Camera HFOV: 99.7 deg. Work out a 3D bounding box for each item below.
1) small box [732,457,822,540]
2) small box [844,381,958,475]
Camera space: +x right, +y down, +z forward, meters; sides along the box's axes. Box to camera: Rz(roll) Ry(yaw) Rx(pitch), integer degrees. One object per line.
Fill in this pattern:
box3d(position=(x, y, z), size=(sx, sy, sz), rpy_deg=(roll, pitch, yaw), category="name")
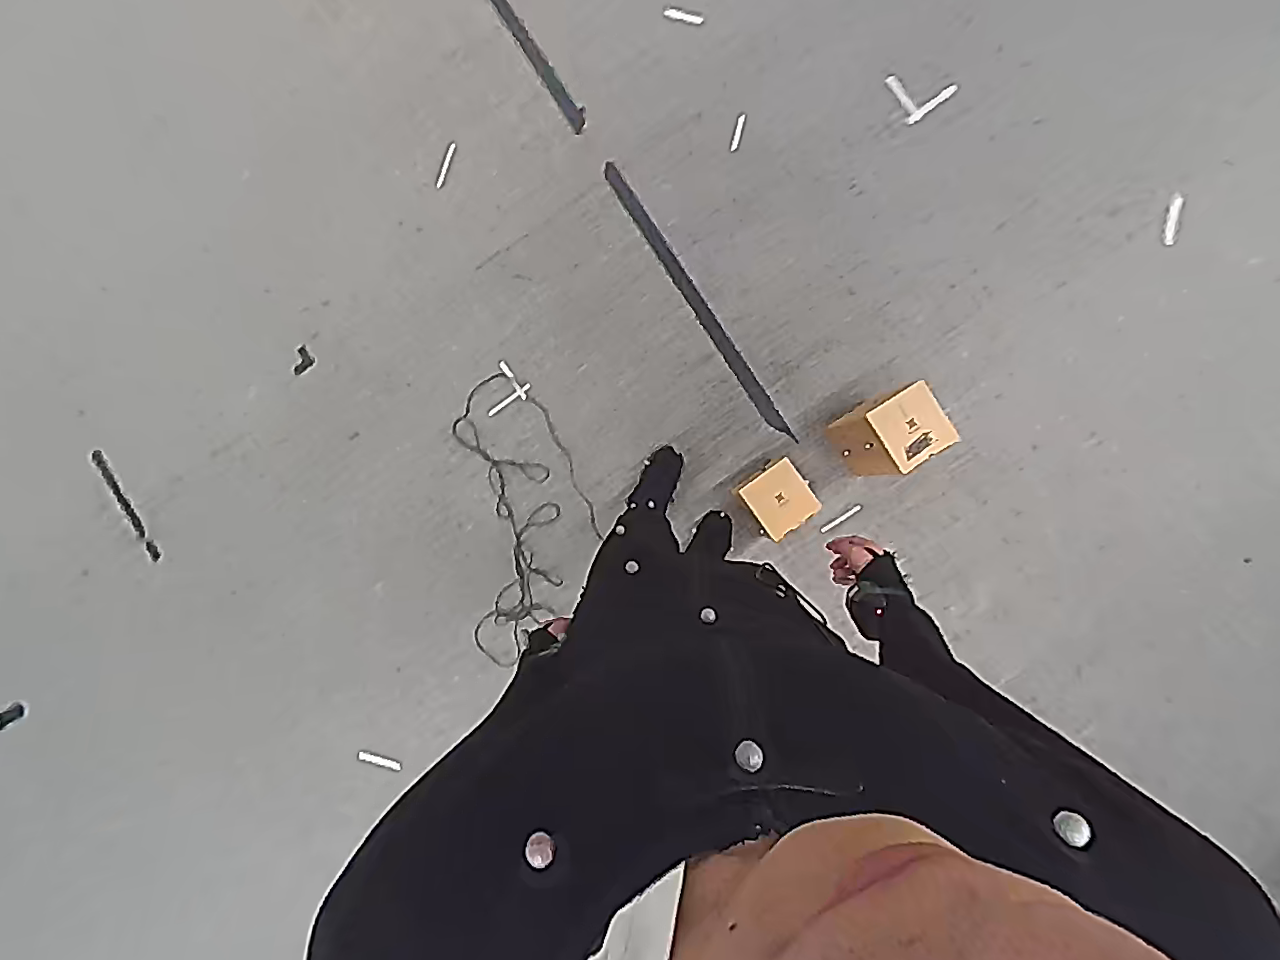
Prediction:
box3d(position=(0.386, 0.053, 1.561), size=(0.168, 0.176, 0.179), rpy_deg=(-36, 89, 1), category="small box")
box3d(position=(0.660, -0.126, 1.387), size=(0.168, 0.176, 0.179), rpy_deg=(-32, 88, 1), category="small box")
